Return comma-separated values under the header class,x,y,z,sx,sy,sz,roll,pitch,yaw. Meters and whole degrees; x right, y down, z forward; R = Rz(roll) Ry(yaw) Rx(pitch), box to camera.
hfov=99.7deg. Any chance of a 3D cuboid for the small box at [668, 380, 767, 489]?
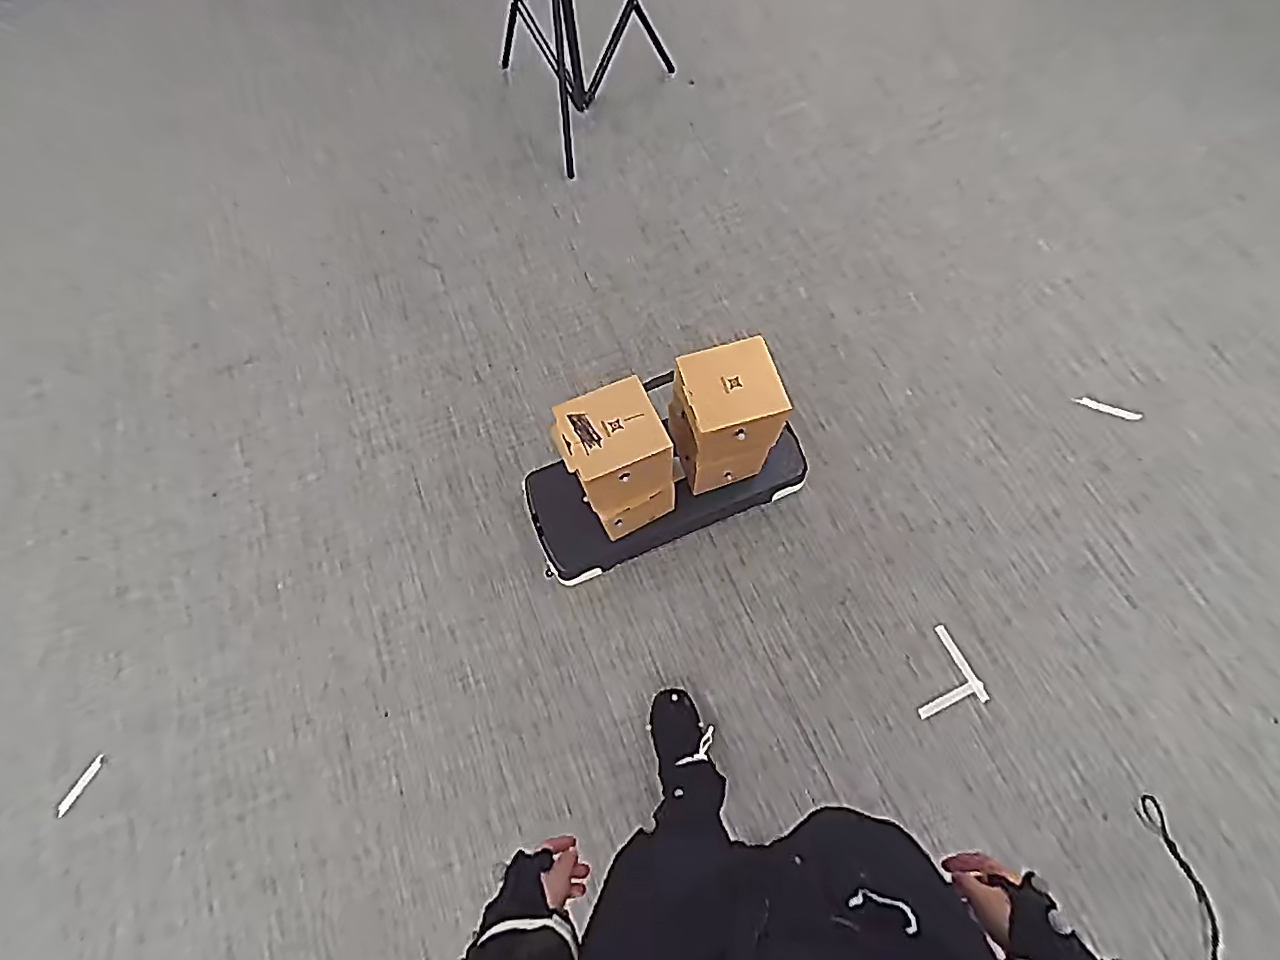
class,x,y,z,sx,sy,sz,roll,pitch,yaw
small box,0.169,-0.091,1.220,0.168,0.176,0.179,-18,70,-4
